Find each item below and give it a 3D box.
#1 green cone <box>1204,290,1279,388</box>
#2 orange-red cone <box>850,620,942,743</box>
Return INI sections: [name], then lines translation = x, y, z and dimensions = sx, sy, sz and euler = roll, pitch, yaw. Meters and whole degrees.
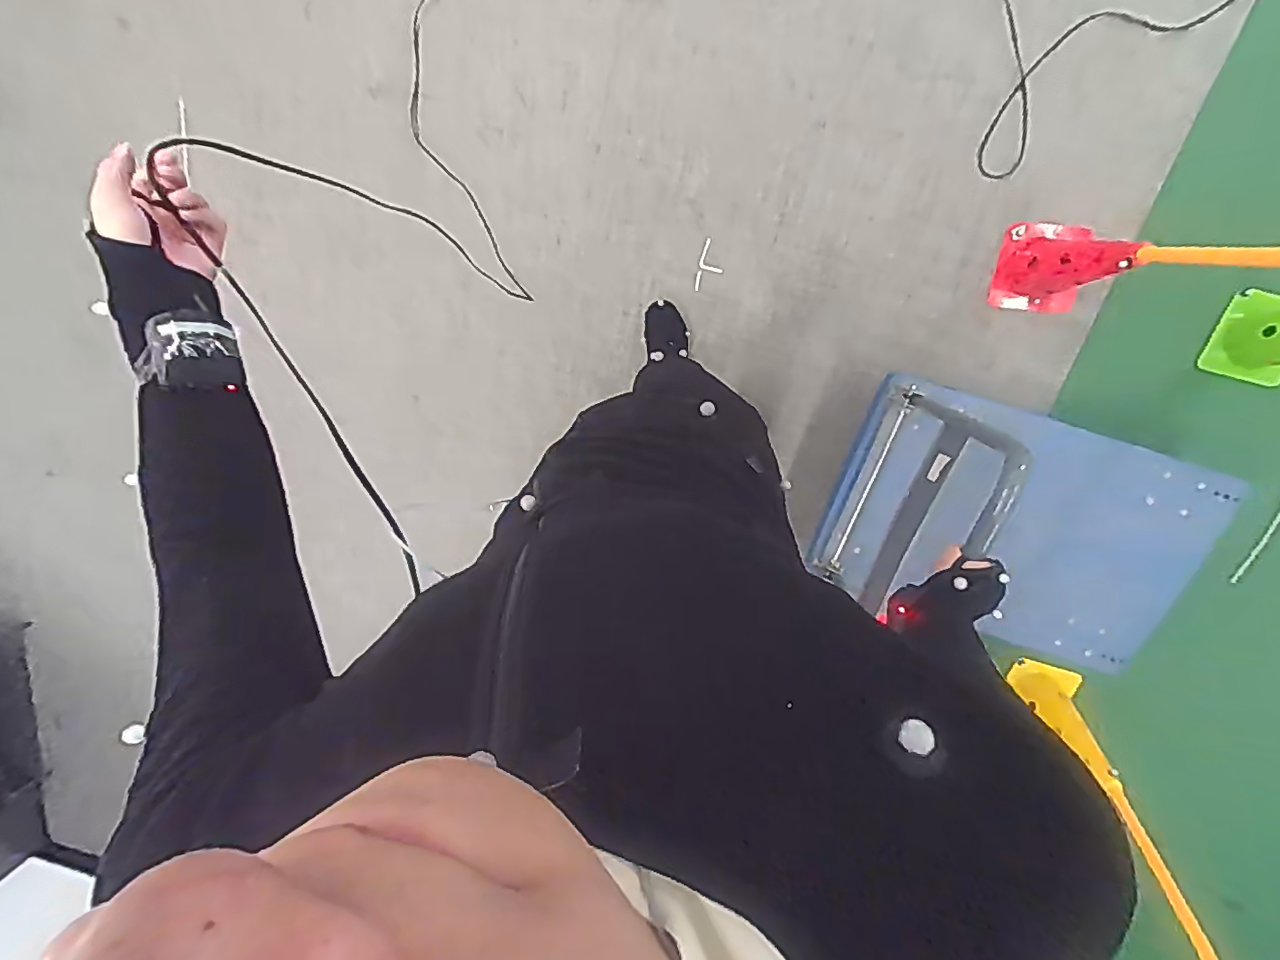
[green cone]
translation = 1.474, -0.290, 1.134
dimensions = 0.202, 0.368, 0.200
euler = 15, 107, 3
[orange-red cone]
translation = 0.752, 0.582, 1.502
dimensions = 0.199, 0.360, 0.198
euler = 15, 109, 2
